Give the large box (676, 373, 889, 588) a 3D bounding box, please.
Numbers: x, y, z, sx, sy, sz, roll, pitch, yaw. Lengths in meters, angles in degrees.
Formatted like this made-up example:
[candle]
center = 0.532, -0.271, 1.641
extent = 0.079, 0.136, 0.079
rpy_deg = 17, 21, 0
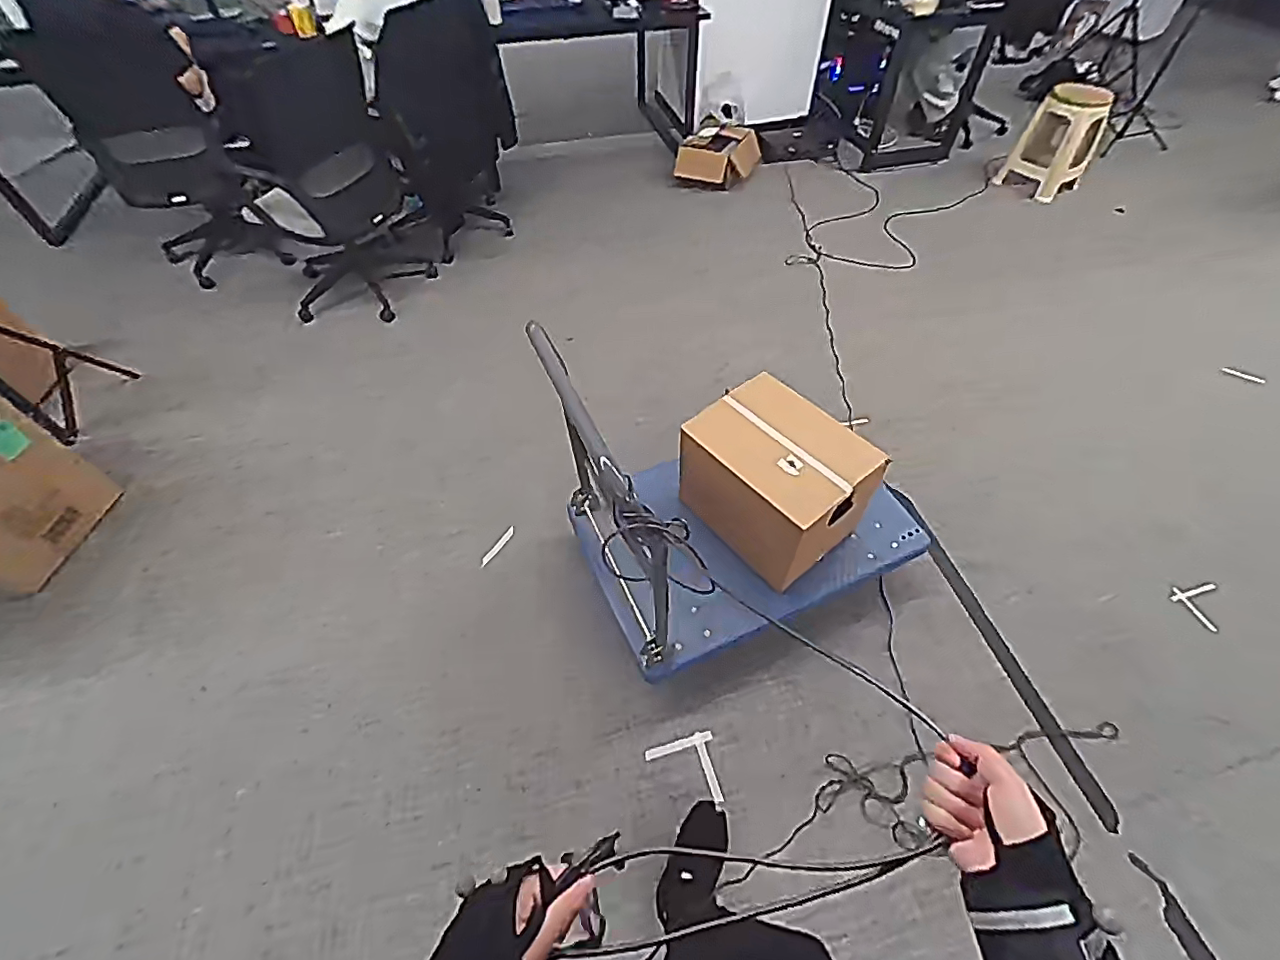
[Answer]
[large box]
center = 0.343, -0.003, 1.417
extent = 0.320, 0.320, 0.408
rpy_deg = -35, 60, -20
